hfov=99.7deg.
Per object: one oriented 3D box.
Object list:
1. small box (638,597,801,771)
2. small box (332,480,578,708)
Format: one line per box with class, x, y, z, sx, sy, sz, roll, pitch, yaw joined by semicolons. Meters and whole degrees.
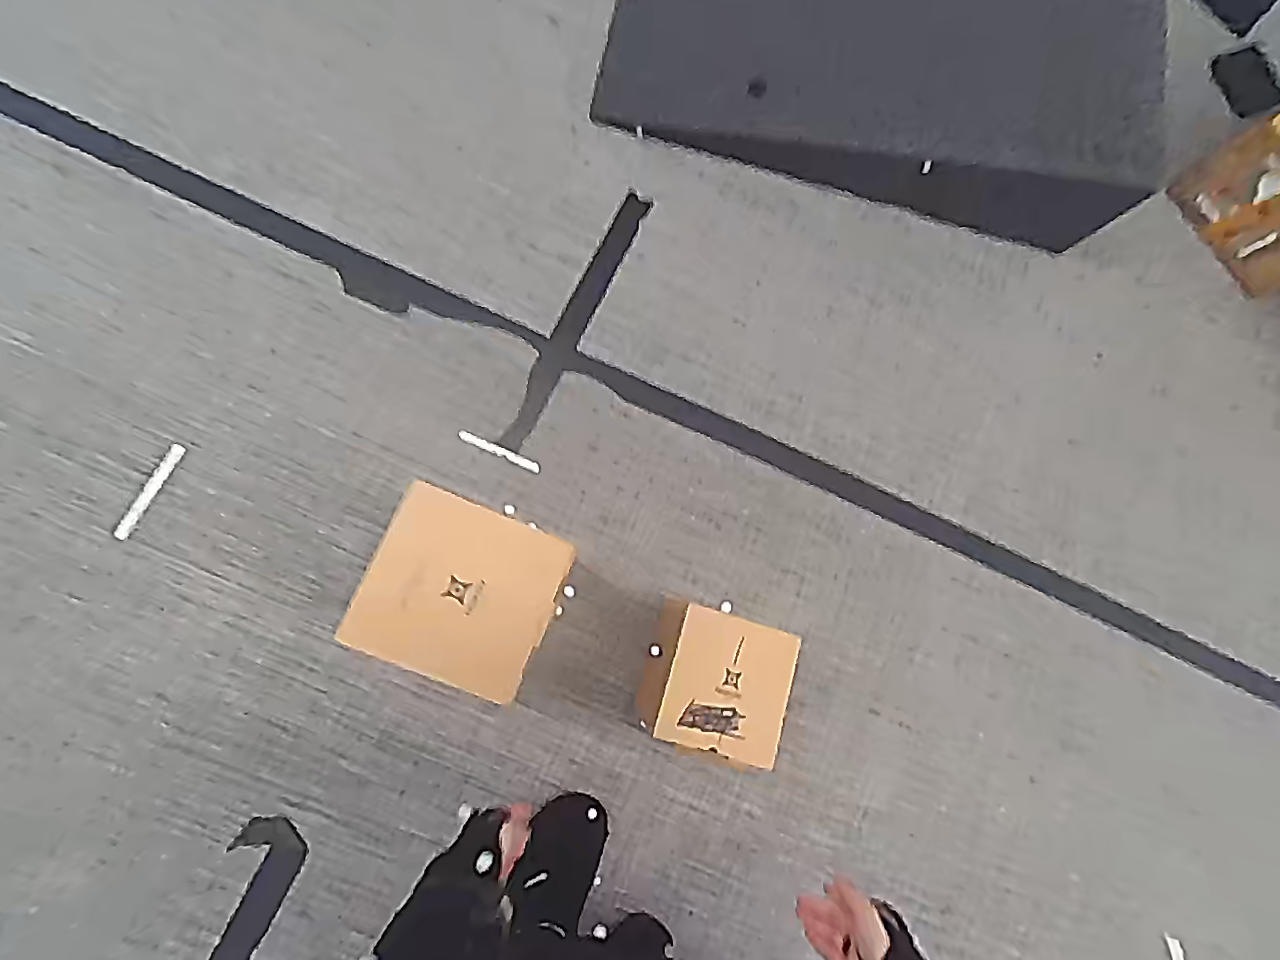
small box;0.102;0.277;0.773;0.168;0.176;0.179;19;78;-6
small box;-0.181;0.117;0.586;0.179;0.176;0.168;24;78;-4
